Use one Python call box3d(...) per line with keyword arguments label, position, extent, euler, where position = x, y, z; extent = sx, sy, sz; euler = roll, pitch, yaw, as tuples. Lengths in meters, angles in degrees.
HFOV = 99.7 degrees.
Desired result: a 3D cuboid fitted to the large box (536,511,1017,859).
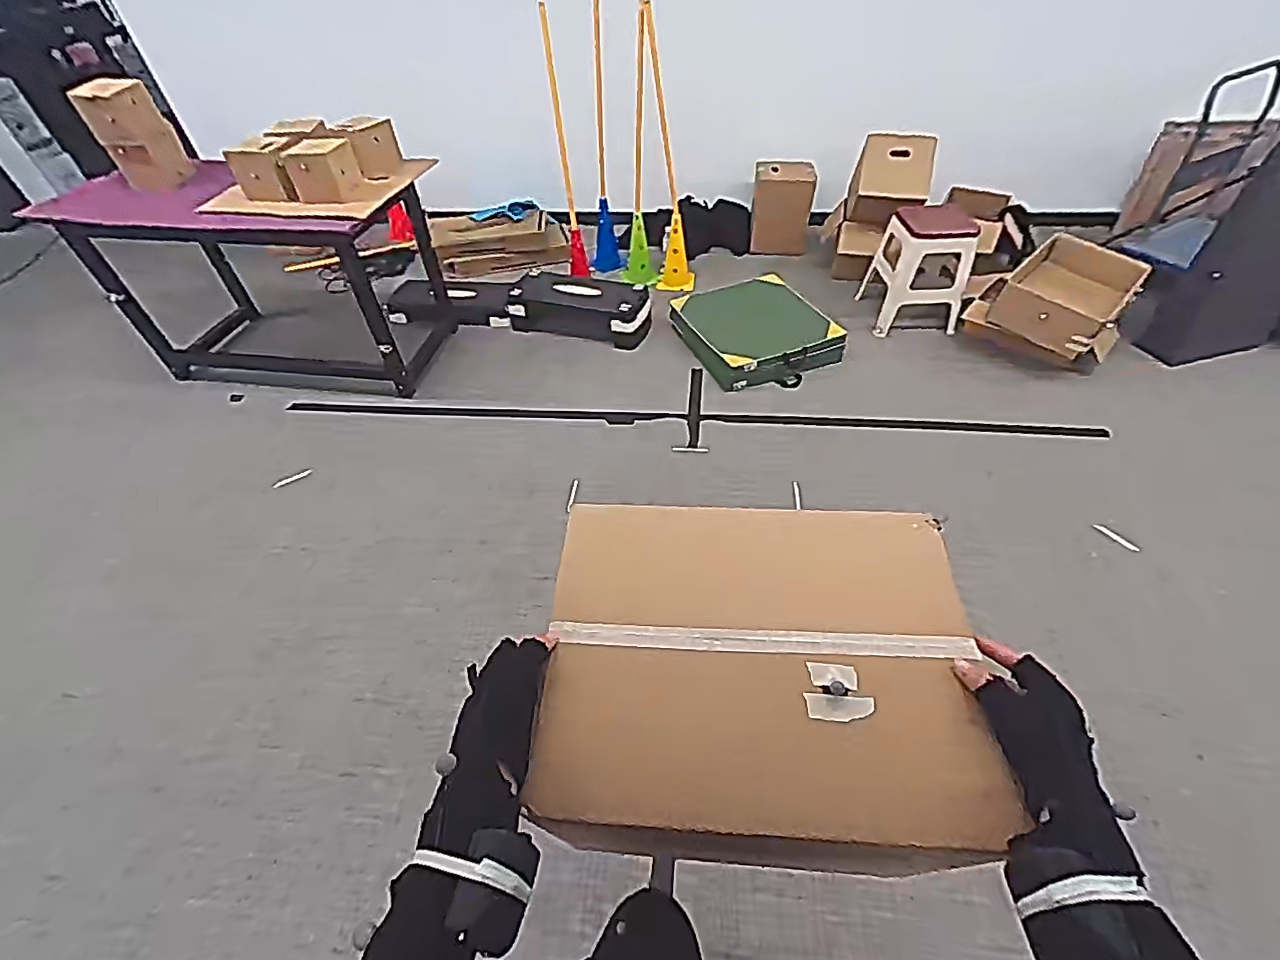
box3d(label="large box", position=(0.120, 0.251, 0.652), extent=(0.408, 0.320, 0.320), euler=(1, 53, 5))
